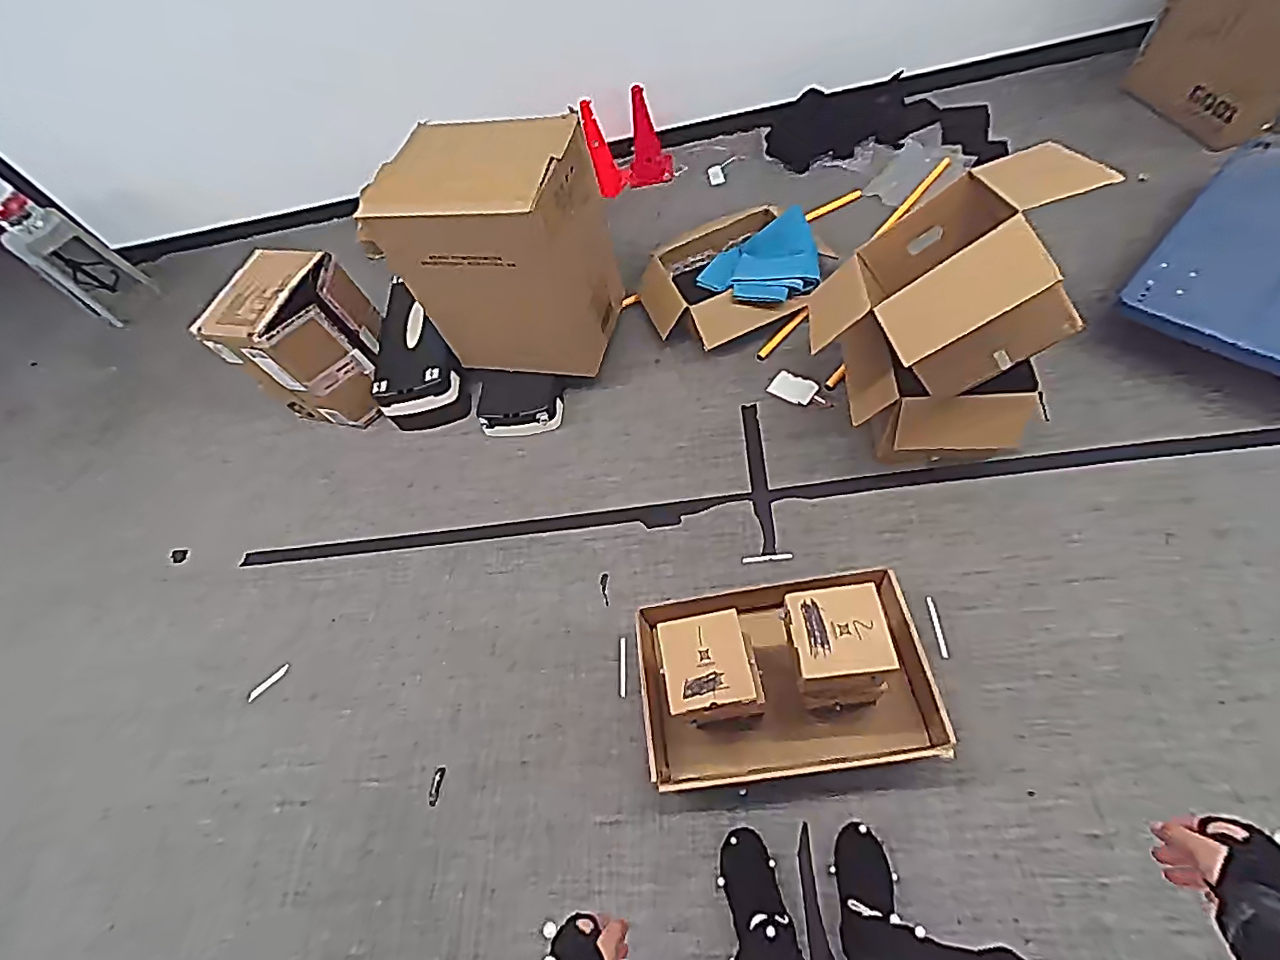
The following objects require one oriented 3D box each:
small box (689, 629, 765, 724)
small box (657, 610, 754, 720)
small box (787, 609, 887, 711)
[{"bbox_3d":[0.183,0.461,1.258,0.179,0.176,0.168,-12,58,5],"label":"small box"},{"bbox_3d":[0.137,0.389,1.116,0.168,0.176,0.179,-12,58,4],"label":"small box"},{"bbox_3d":[0.437,0.414,1.231,0.168,0.176,0.179,-11,59,7],"label":"small box"}]
